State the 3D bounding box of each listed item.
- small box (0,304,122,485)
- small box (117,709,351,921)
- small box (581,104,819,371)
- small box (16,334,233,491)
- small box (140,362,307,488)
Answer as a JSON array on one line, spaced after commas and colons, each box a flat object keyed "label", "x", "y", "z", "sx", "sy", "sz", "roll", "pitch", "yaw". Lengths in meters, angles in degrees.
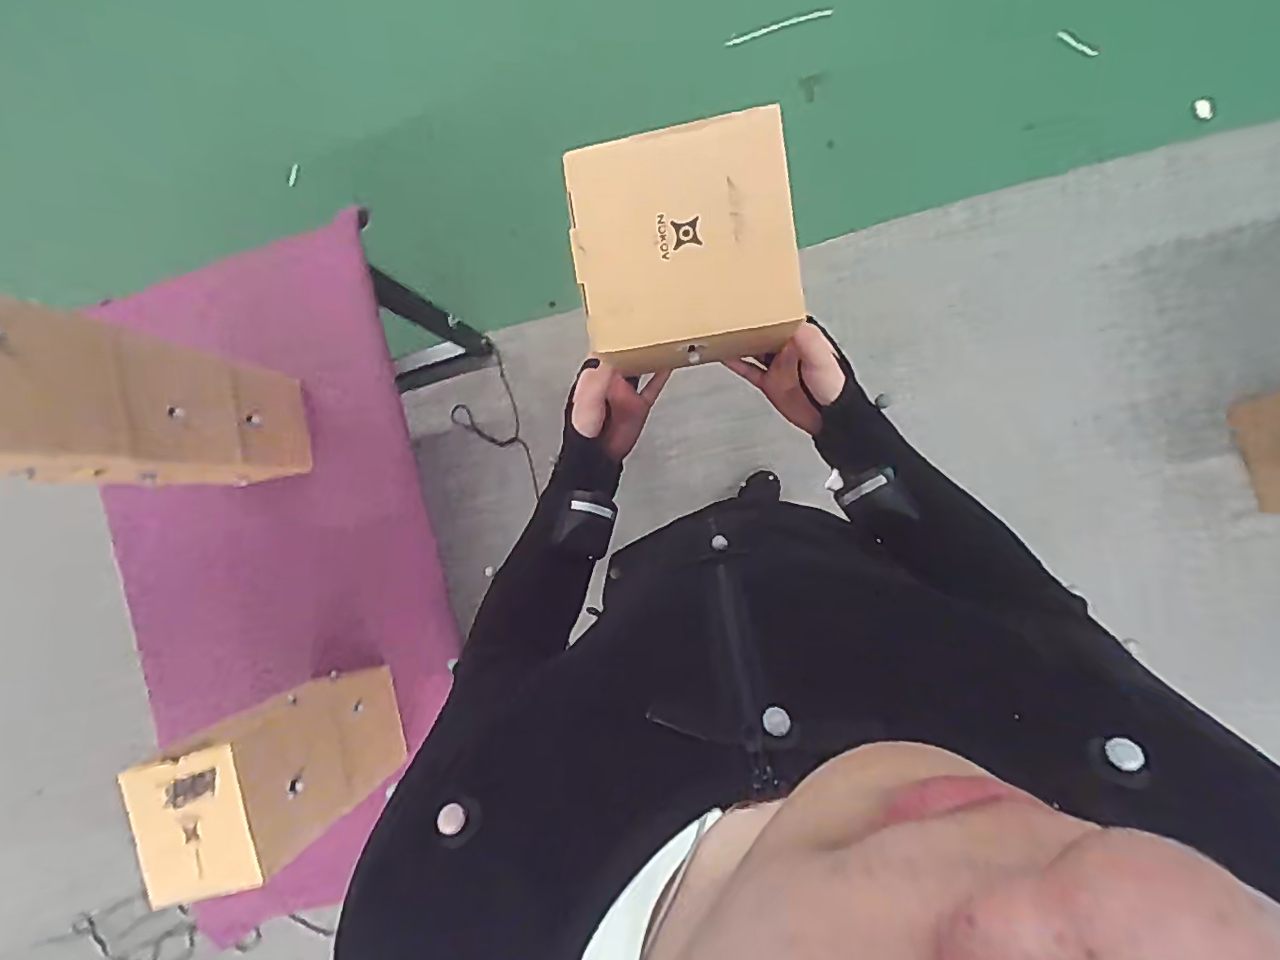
[{"label": "small box", "x": -0.728, "y": -0.090, "z": 0.589, "sx": 0.168, "sy": 0.176, "sz": 0.179, "roll": -10, "pitch": 90, "yaw": 7}, {"label": "small box", "x": -0.531, "y": 0.431, "z": 0.730, "sx": 0.168, "sy": 0.176, "sz": 0.179, "roll": -17, "pitch": 88, "yaw": 6}, {"label": "small box", "x": 0.057, "y": -0.202, "z": 0.506, "sx": 0.179, "sy": 0.176, "sz": 0.168, "roll": -7, "pitch": 94, "yaw": 8}, {"label": "small box", "x": -0.713, "y": -0.086, "z": 0.753, "sx": 0.168, "sy": 0.176, "sz": 0.179, "roll": -9, "pitch": 90, "yaw": 6}, {"label": "small box", "x": -0.706, "y": -0.085, "z": 0.917, "sx": 0.168, "sy": 0.176, "sz": 0.179, "roll": -10, "pitch": 90, "yaw": 6}]
